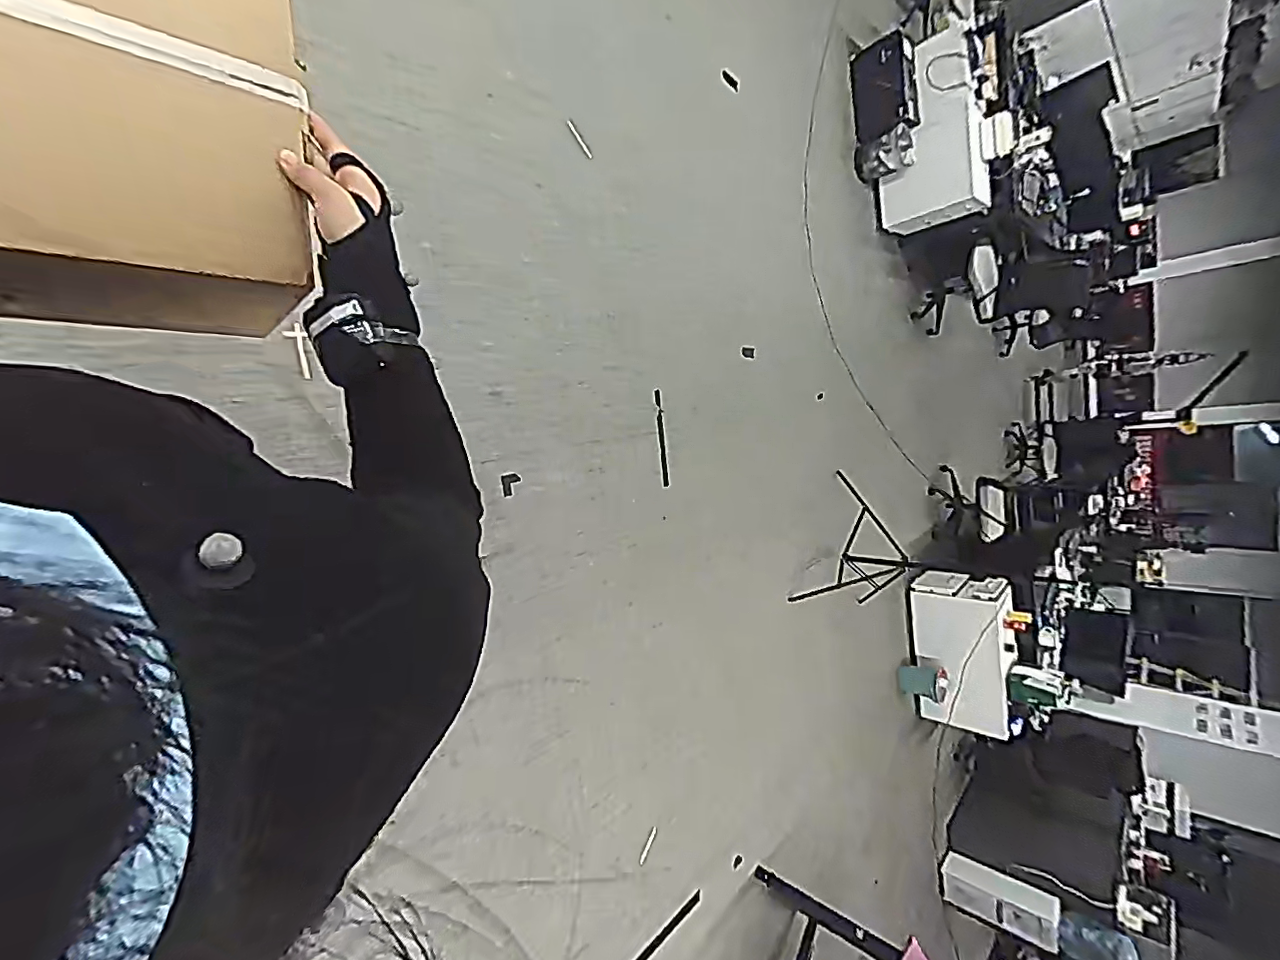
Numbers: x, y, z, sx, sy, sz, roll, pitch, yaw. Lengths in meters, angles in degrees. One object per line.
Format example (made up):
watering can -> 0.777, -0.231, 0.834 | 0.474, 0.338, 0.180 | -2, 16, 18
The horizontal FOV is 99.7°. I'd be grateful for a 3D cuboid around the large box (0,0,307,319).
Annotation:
large box -> -0.549, -0.323, 0.446 | 0.408, 0.320, 0.320 | -8, 98, -41
